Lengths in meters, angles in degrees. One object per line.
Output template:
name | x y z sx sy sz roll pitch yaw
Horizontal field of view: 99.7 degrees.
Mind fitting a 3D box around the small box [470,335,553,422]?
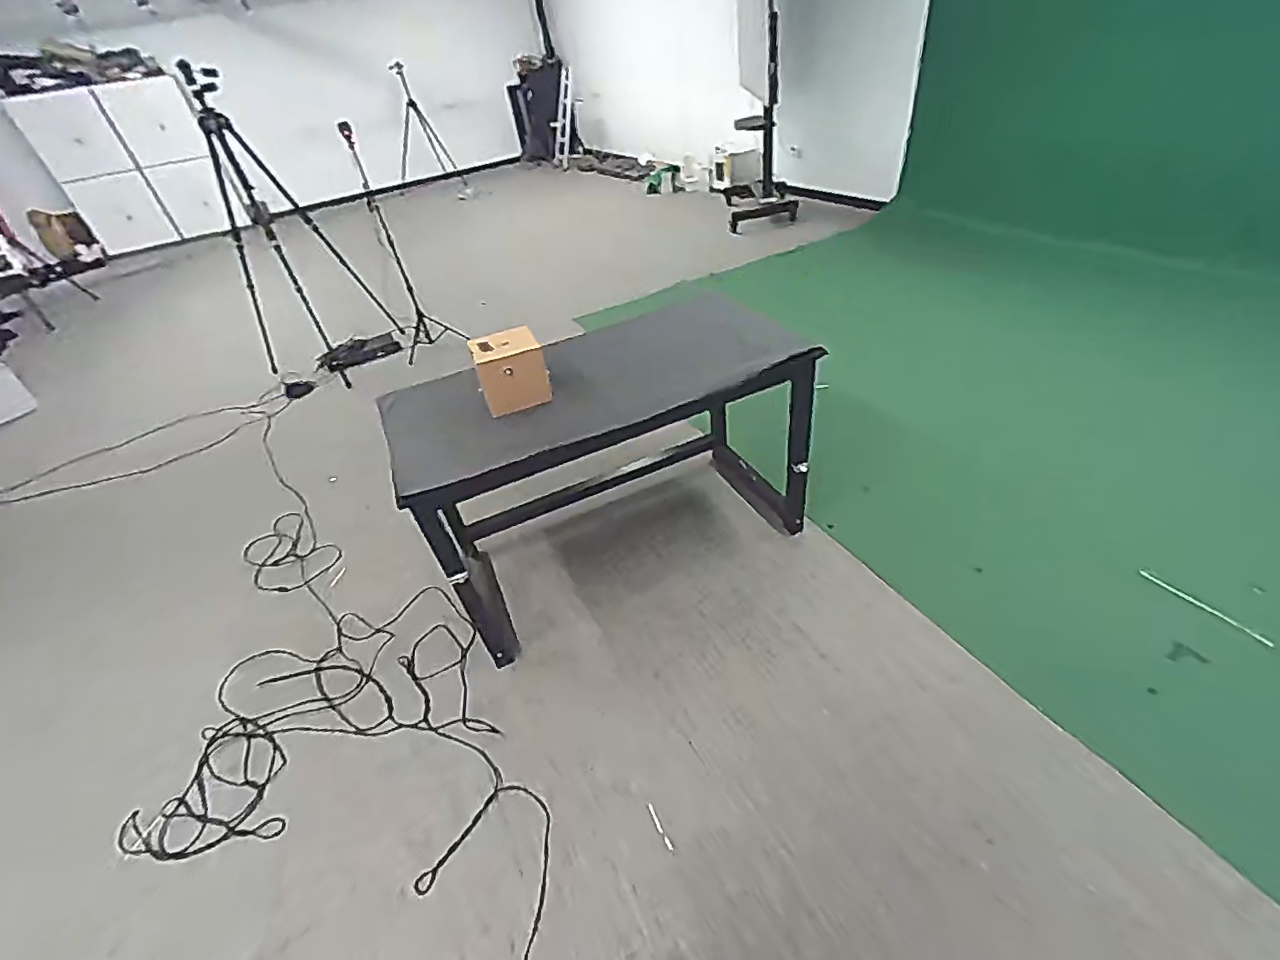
small box | -0.363 -0.285 1.531 0.179 0.176 0.168 -19 39 -14
